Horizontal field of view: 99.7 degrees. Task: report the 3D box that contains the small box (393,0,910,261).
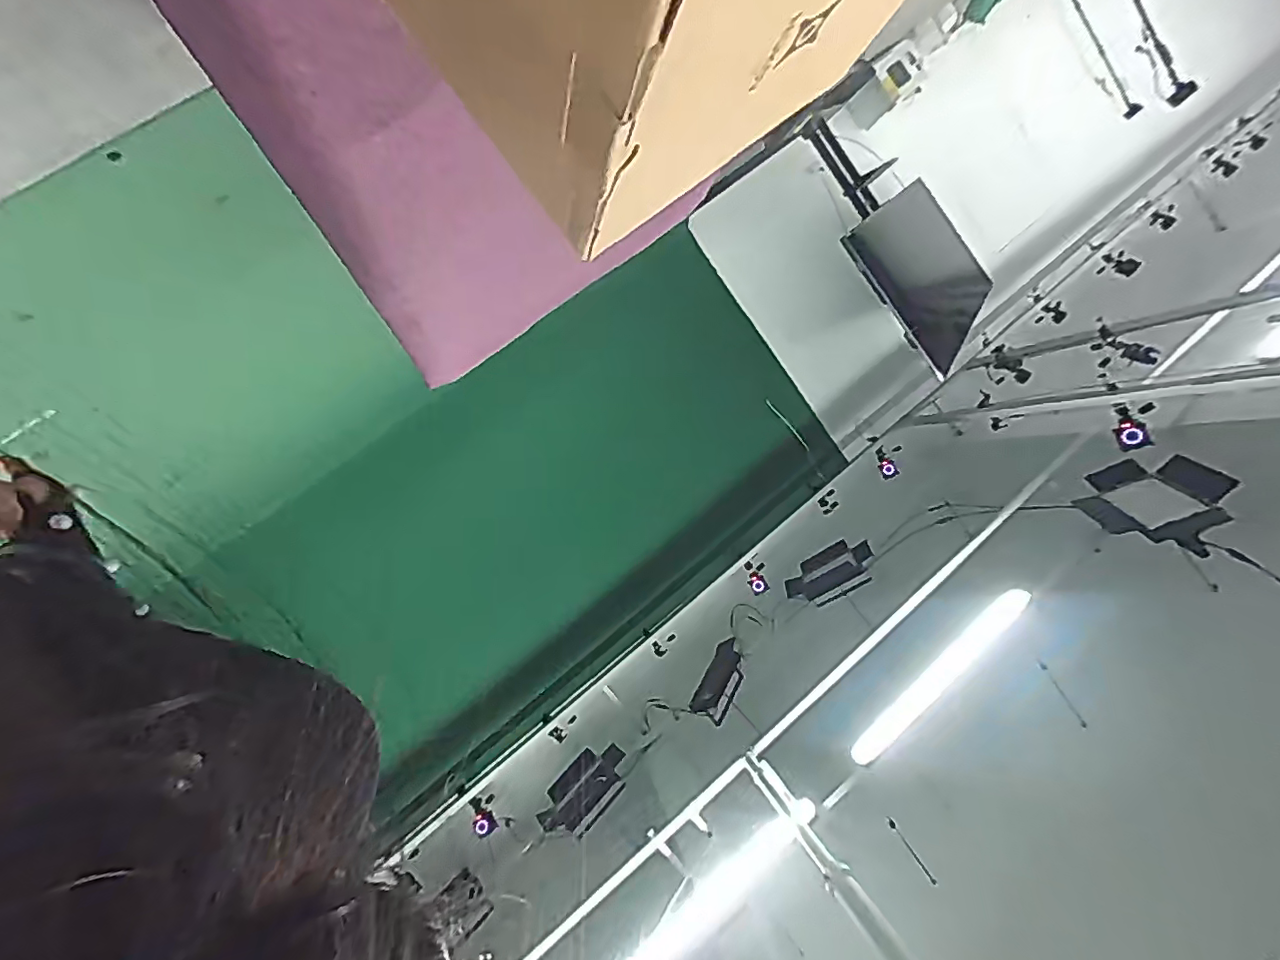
[{"bbox_3d":[0.009,-0.216,0.174,0.179,0.176,0.168,-39,-172,-10],"label":"small box"}]
